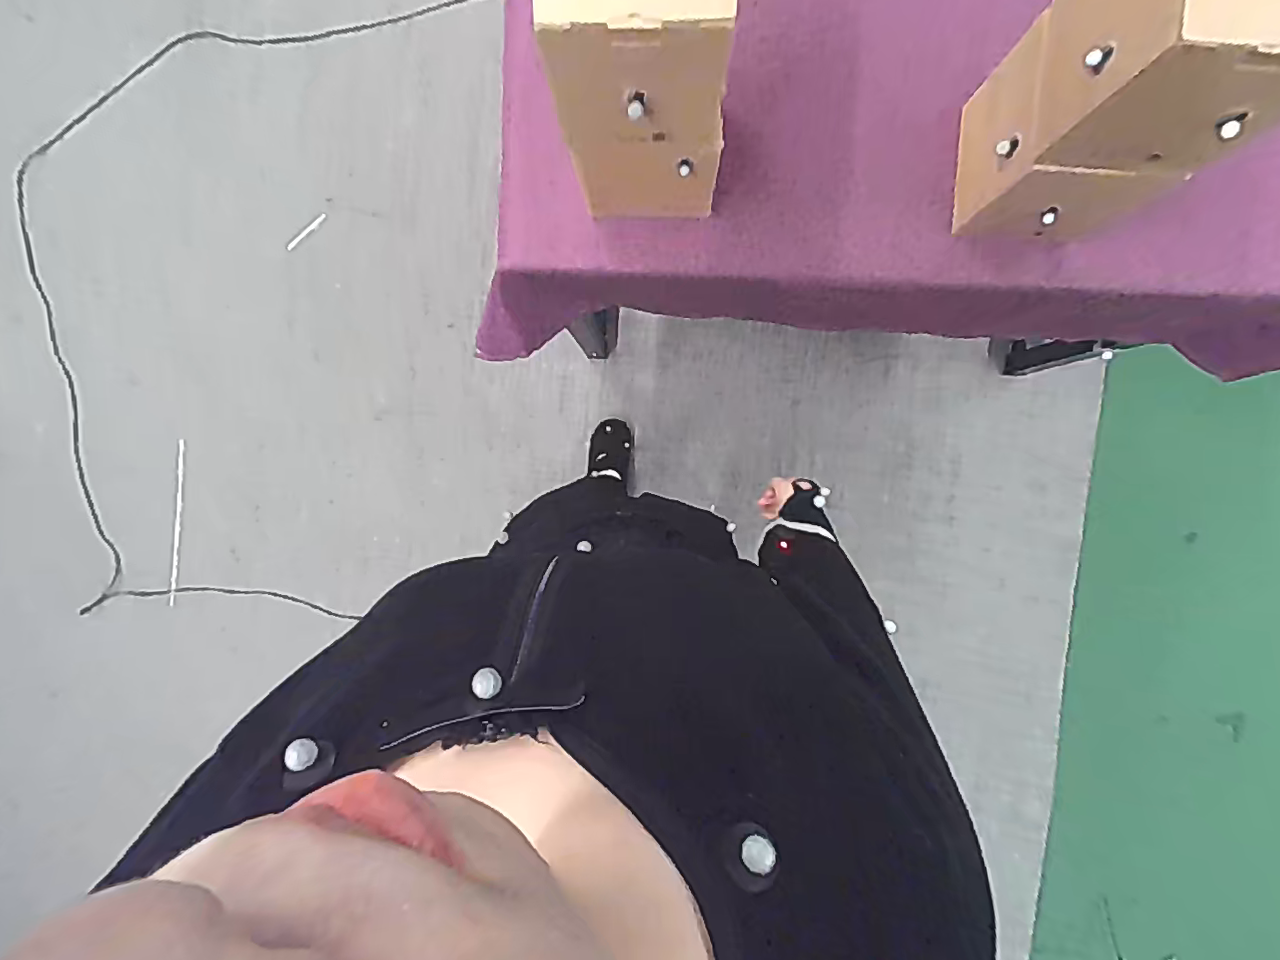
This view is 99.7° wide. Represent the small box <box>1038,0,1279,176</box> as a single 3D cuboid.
[{"bbox_3d":[0.504,-0.407,0.490,0.168,0.176,0.179,7,91,3],"label":"small box"}]

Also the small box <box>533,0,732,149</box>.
[{"bbox_3d":[-0.001,-0.447,0.516,0.168,0.176,0.179,1,91,2],"label":"small box"}]

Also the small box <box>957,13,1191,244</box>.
[{"bbox_3d":[0.512,-0.406,0.653,0.168,0.176,0.179,5,91,2],"label":"small box"}]

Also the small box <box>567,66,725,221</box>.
[{"bbox_3d":[0.011,-0.445,0.680,0.179,0.176,0.168,2,91,2],"label":"small box"}]
